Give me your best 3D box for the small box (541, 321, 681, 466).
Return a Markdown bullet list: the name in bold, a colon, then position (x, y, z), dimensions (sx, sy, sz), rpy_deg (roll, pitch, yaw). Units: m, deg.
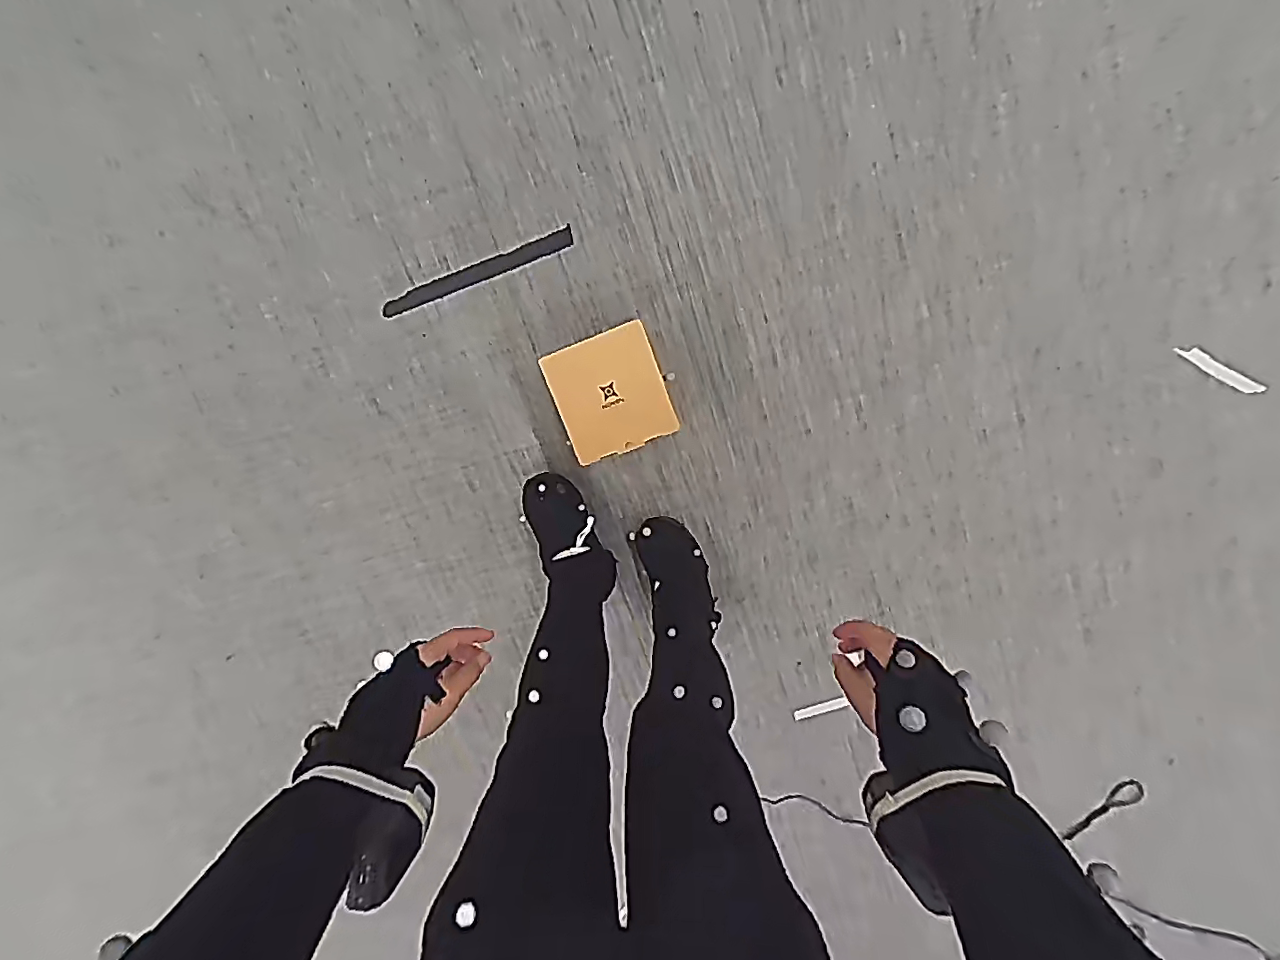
- **small box**: position (-0.040, -0.142, 0.882), dimensions (0.168, 0.176, 0.179), rpy_deg (-20, 102, 7)
